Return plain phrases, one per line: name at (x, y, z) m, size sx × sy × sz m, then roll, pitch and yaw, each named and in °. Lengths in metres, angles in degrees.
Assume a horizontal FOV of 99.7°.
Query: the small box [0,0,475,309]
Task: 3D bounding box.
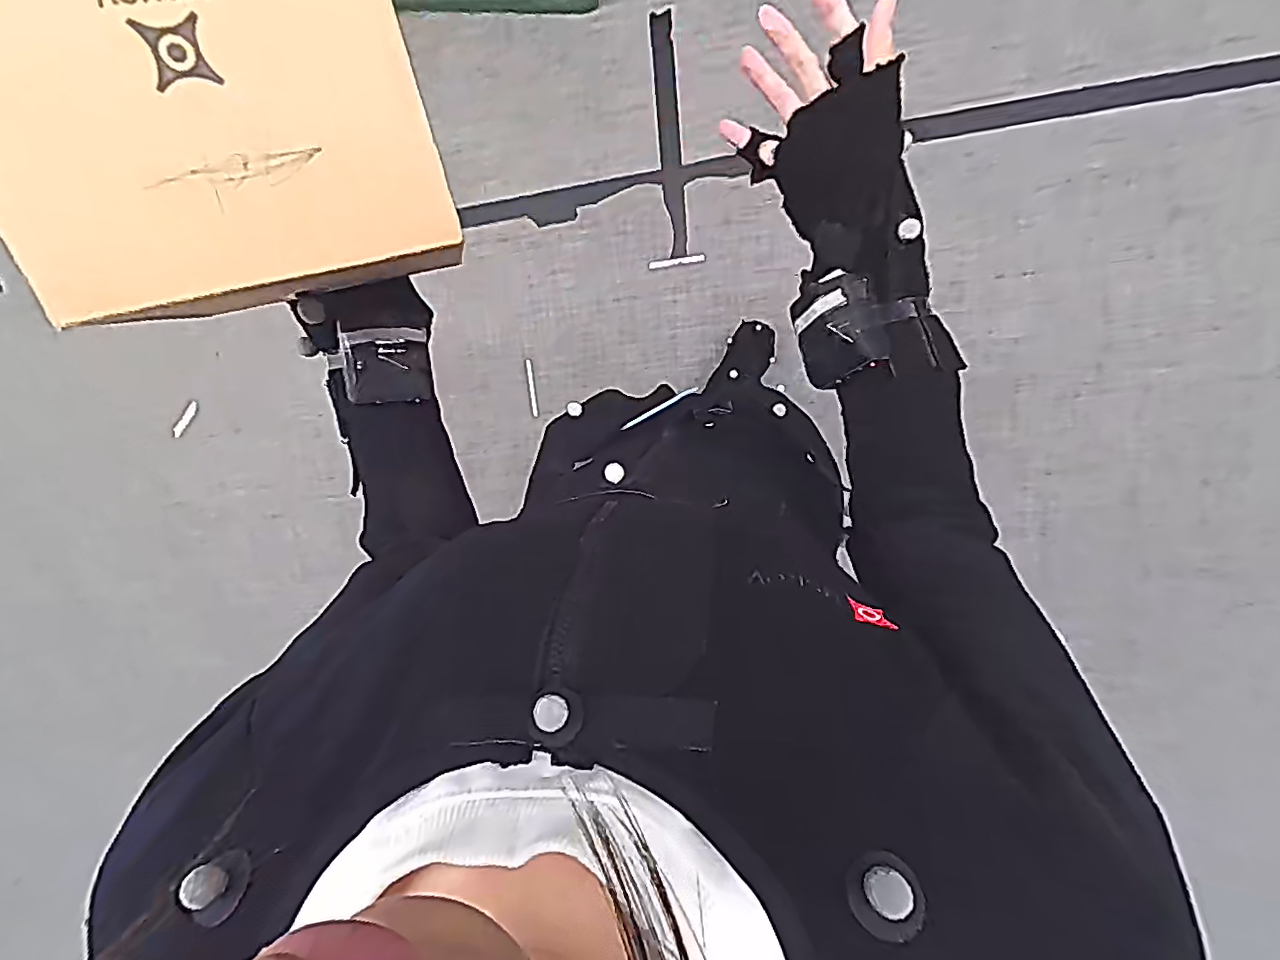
small box at (-0.197, -0.195, 0.286) m, size 0.168 × 0.176 × 0.179 m, roll -17°, pitch 113°, yaw -12°
